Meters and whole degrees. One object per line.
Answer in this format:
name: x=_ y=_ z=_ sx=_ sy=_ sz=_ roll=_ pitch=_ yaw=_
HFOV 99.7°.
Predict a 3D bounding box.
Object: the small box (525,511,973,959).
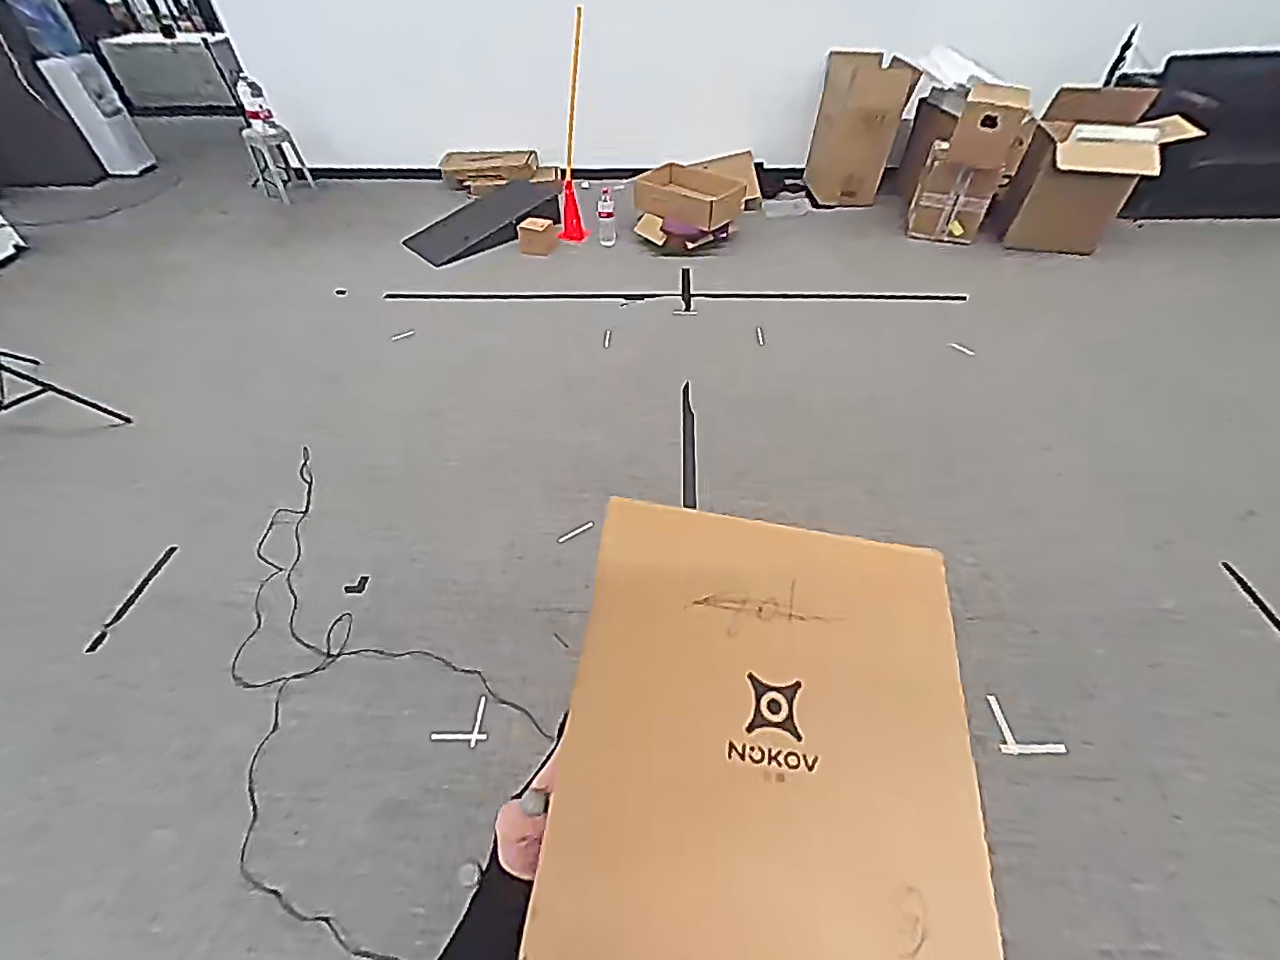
small box: x=0.042 y=0.142 z=0.300 sx=0.168 sy=0.176 sz=0.179 roll=10 pitch=59 yaw=-3
